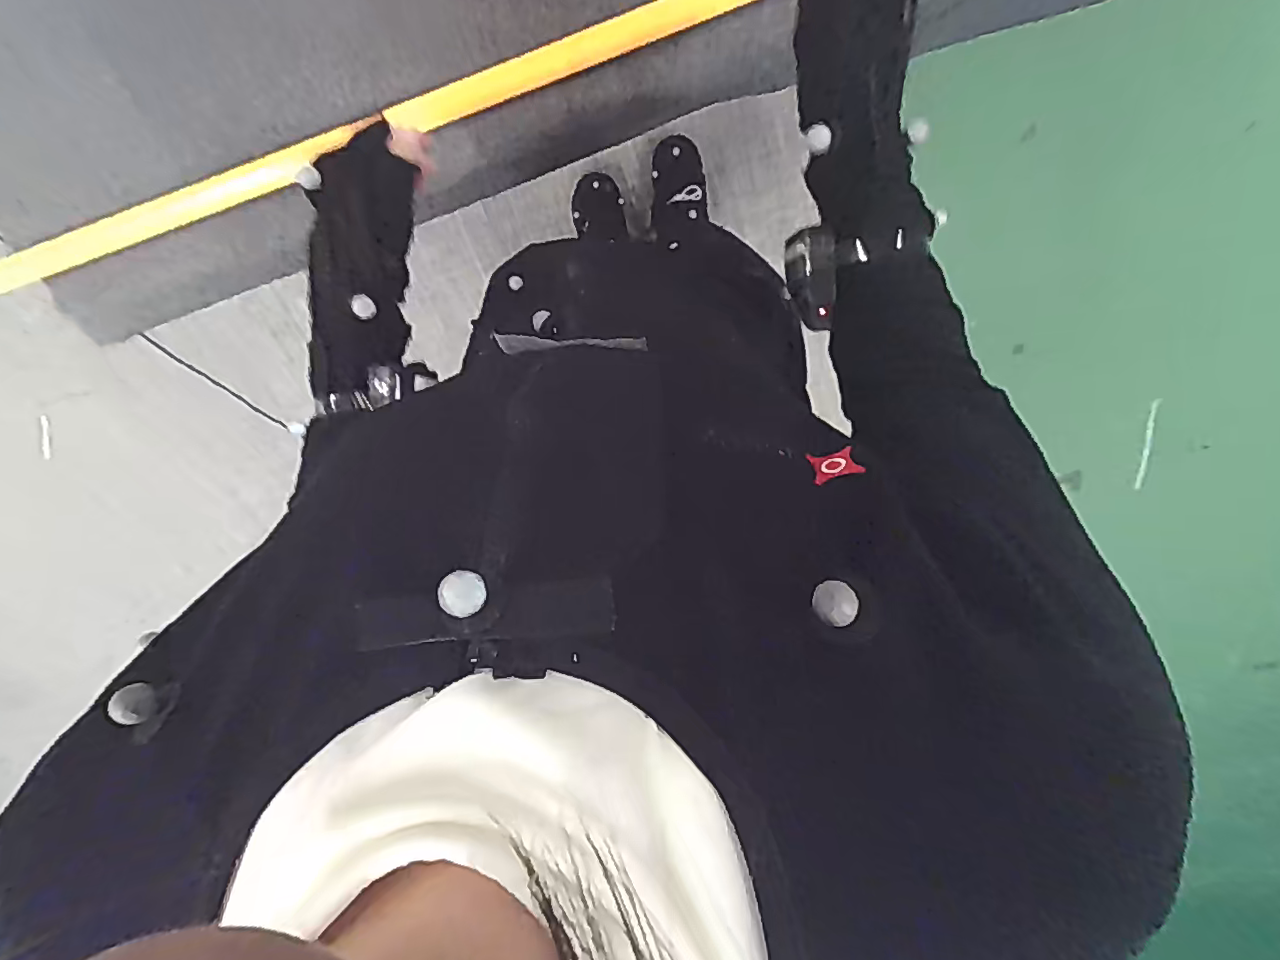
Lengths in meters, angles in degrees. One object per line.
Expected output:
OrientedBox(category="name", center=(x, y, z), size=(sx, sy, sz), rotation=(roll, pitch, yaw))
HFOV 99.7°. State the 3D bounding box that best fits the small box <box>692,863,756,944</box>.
OrientedBox(category="small box", center=(0.297, 1.506, 1.926), size=(0.168, 0.176, 0.179), rotation=(-23, 119, 10))
